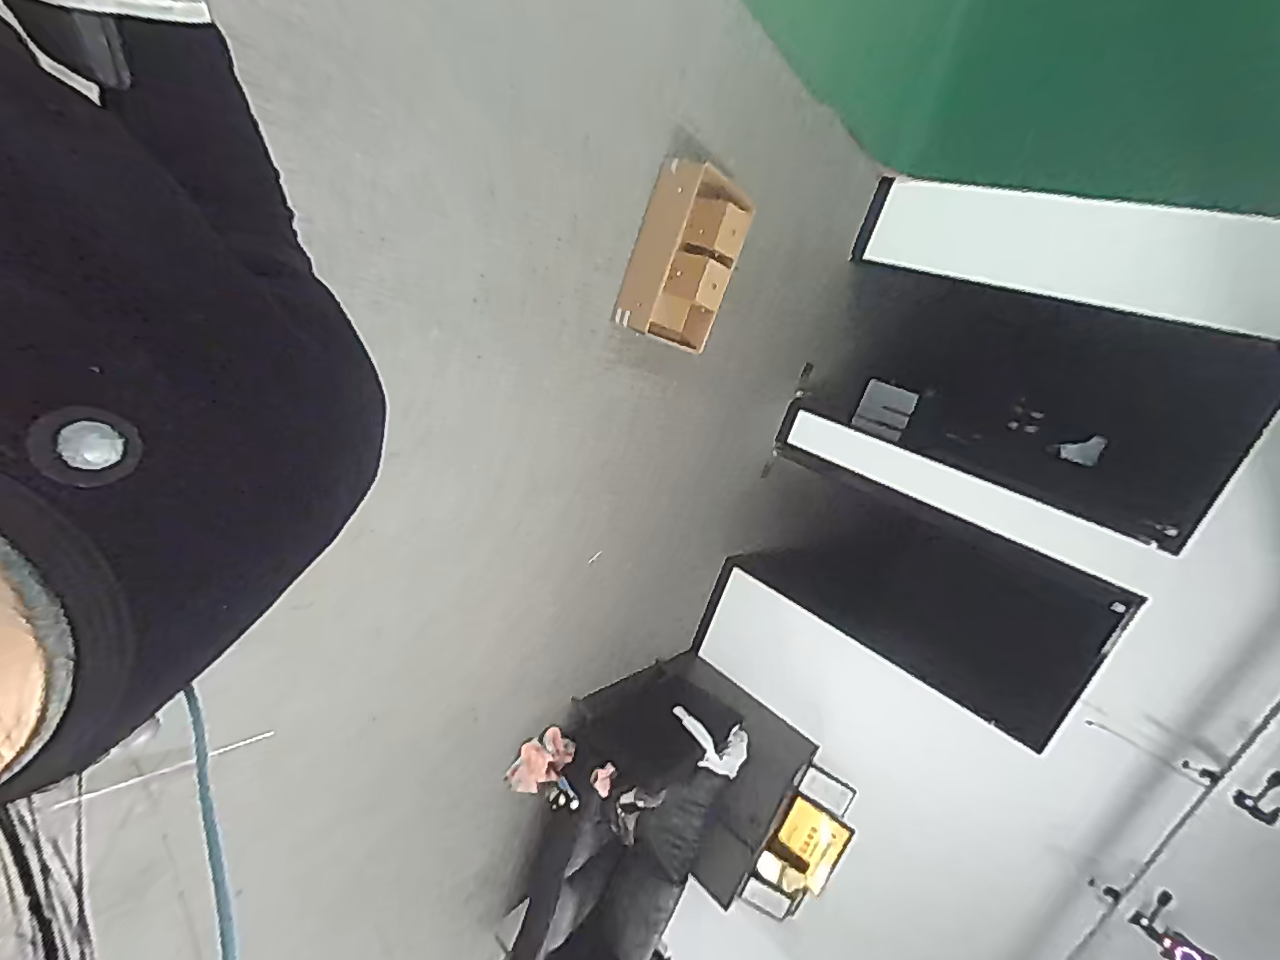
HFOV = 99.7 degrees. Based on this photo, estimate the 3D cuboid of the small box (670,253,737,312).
[{"bbox_3d":[0.250,-0.785,2.146,0.179,0.176,0.168,1,112,-51],"label":"small box"}]
